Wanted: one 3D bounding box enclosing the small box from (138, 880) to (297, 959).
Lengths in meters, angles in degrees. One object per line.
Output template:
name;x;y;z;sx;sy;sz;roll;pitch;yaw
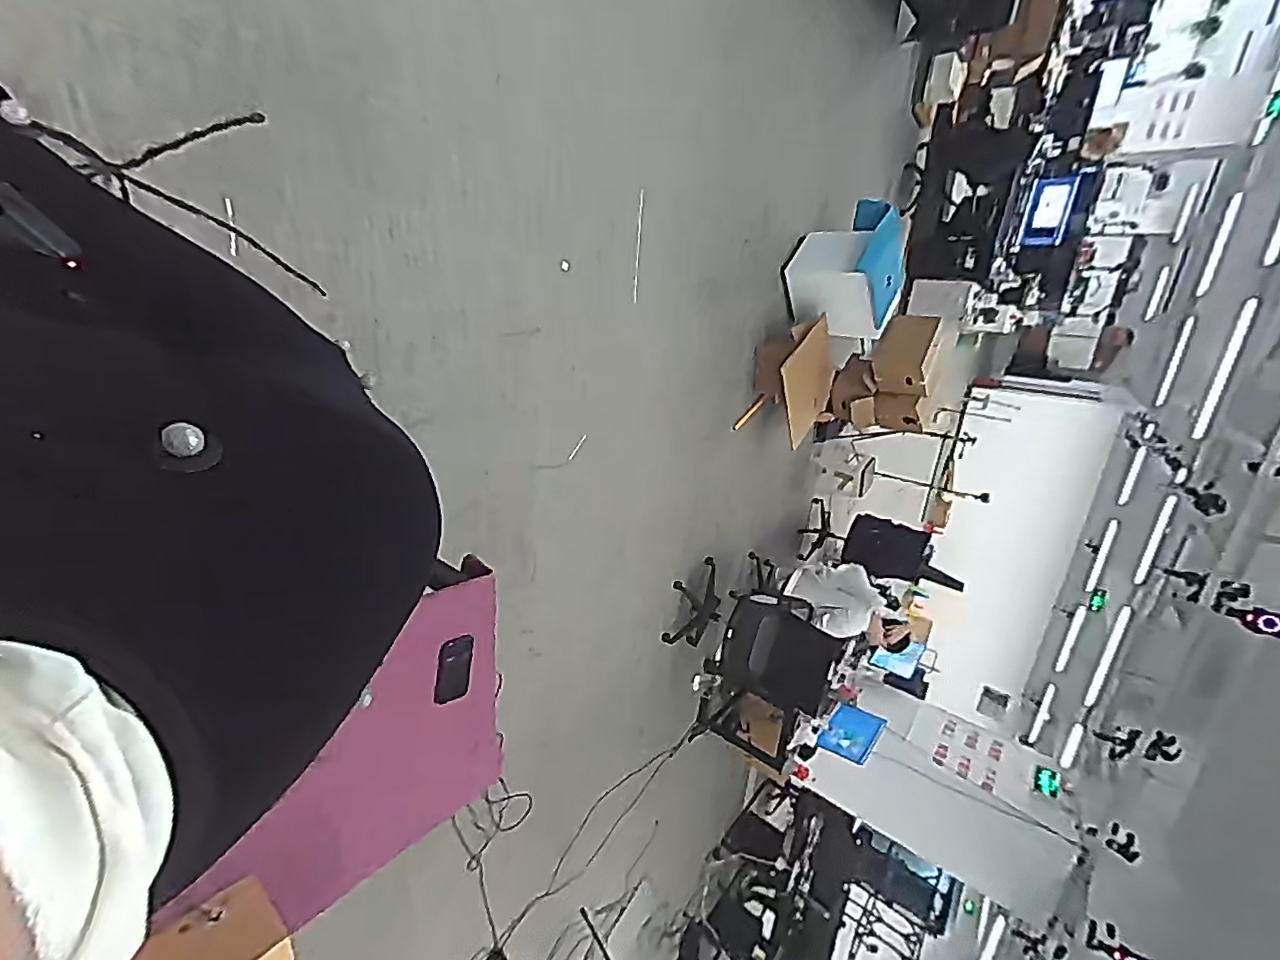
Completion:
small box;-0.678;0.817;0.882;0.168;0.176;0.179;-19;119;-49
